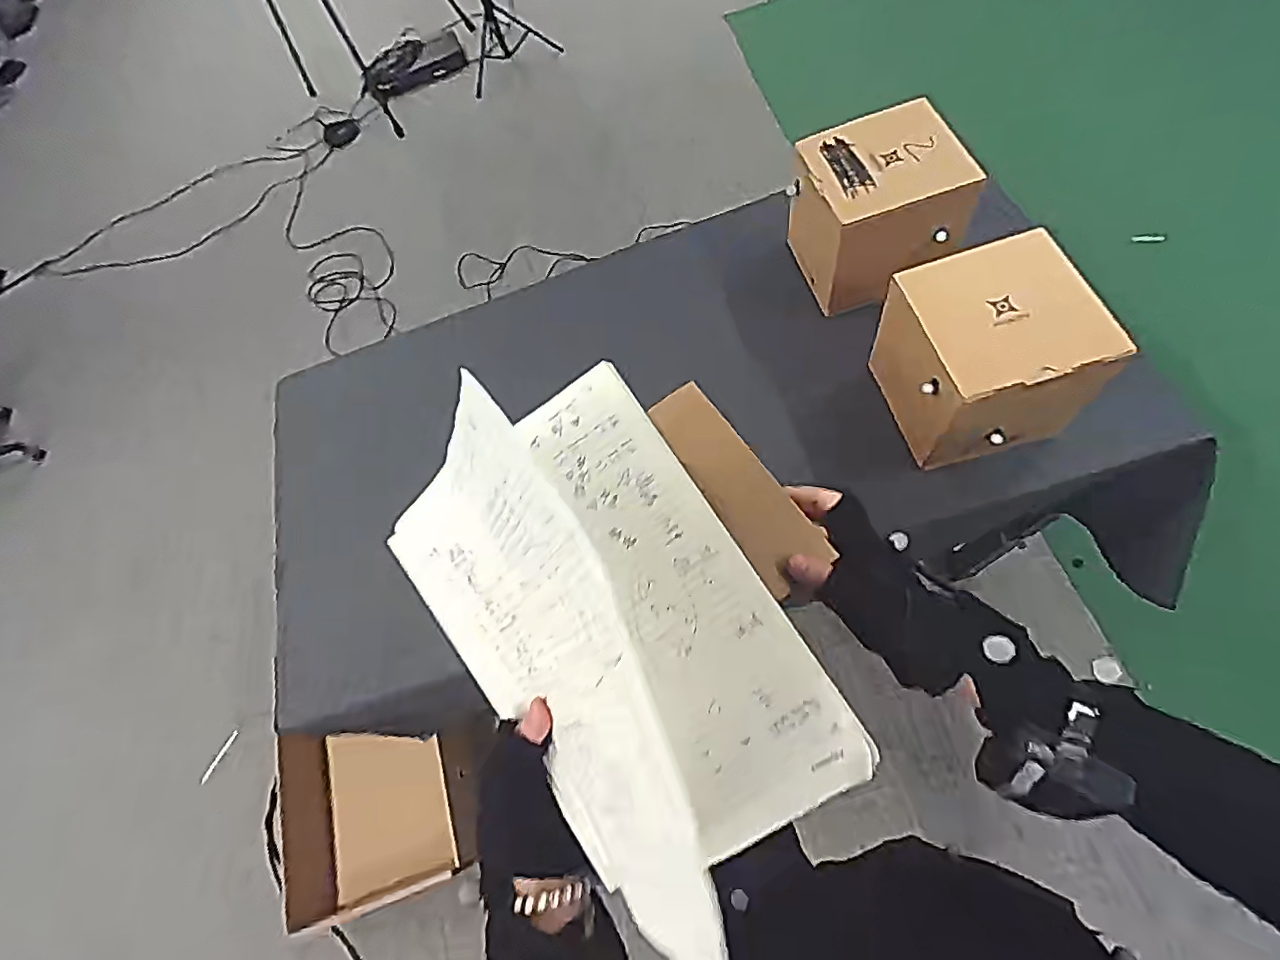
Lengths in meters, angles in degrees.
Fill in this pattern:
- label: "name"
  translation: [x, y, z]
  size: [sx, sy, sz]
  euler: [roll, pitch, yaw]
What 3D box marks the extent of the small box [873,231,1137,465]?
- label: "small box"
  translation: [0.393, -0.143, 0.627]
  size: [0.168, 0.176, 0.179]
  euler: [-16, 64, 5]
